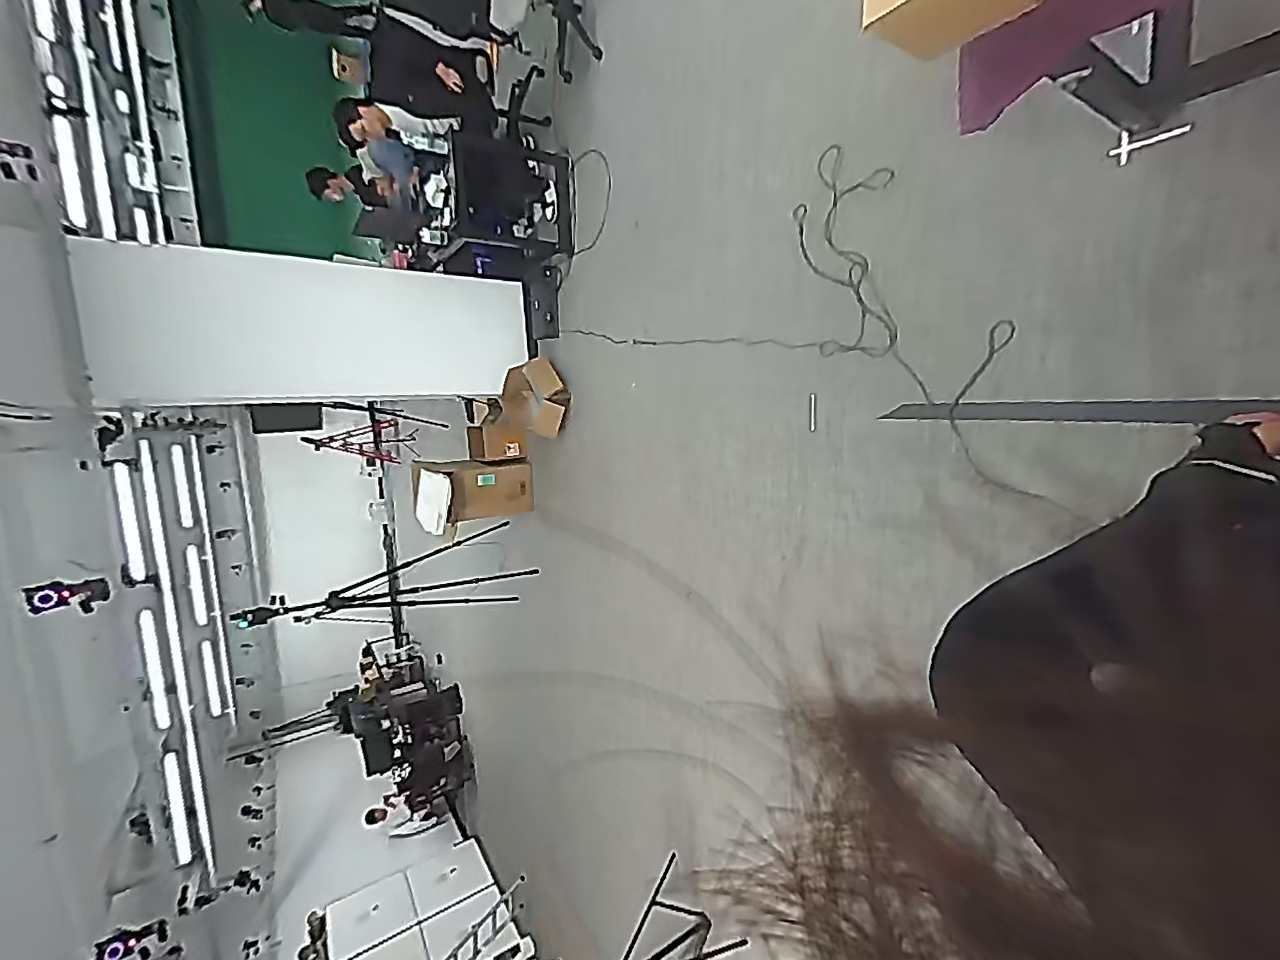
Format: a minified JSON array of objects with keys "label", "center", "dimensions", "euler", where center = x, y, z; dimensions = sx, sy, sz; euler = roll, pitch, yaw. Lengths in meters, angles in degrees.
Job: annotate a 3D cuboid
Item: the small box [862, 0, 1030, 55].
[{"label":"small box","center":[0.445,-0.753,0.765],"dimensions":[0.179,0.176,0.168],"euler":[12,106,54]}]
